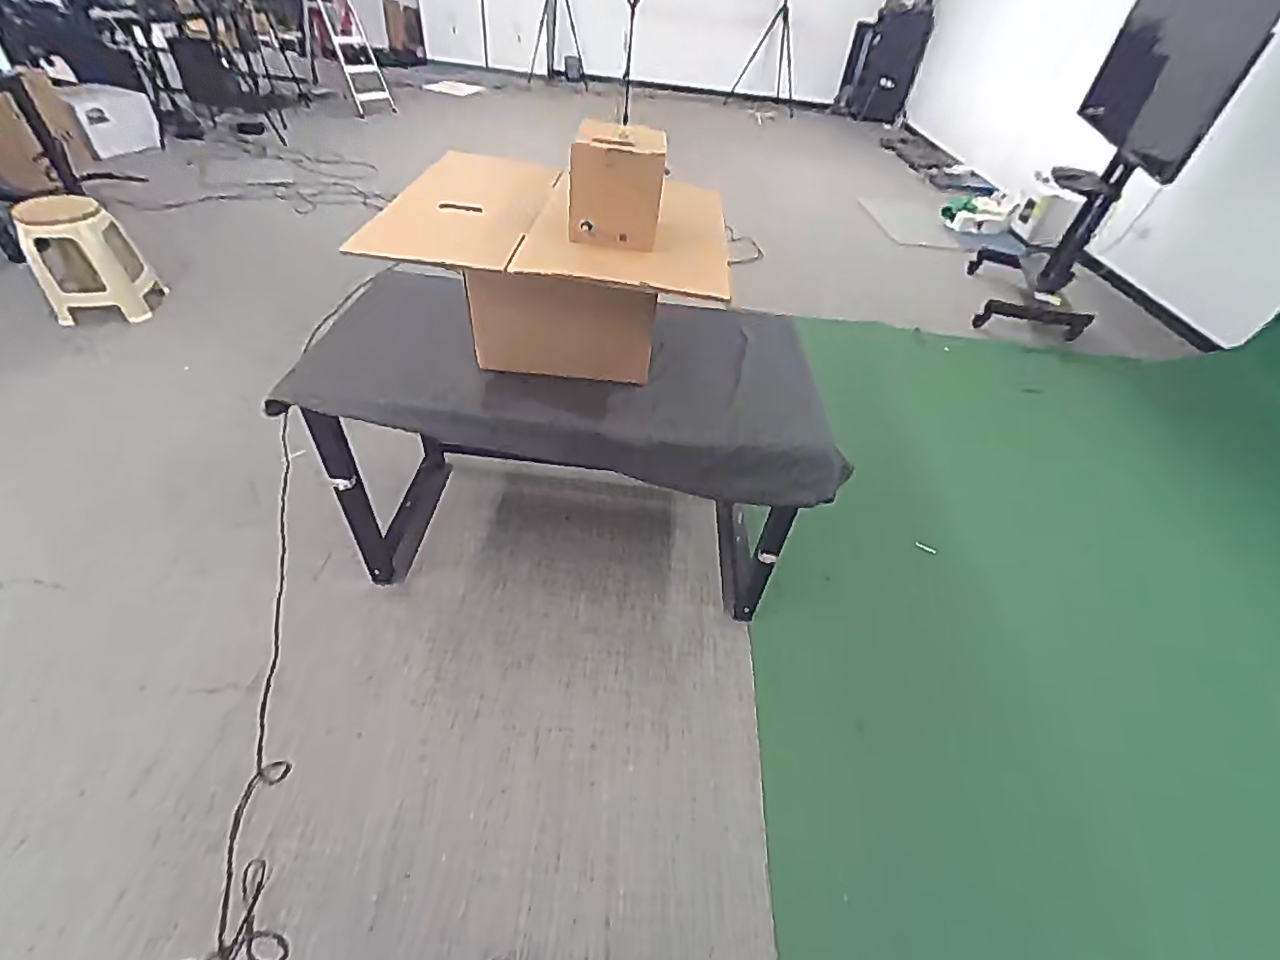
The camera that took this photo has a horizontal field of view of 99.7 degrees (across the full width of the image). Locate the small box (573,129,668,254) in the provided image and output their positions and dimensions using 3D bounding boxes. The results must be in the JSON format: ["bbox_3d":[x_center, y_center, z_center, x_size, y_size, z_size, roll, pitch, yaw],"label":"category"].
[{"bbox_3d":[-0.039,-0.560,1.054,0.168,0.176,0.179,7,43,-3],"label":"small box"}]
